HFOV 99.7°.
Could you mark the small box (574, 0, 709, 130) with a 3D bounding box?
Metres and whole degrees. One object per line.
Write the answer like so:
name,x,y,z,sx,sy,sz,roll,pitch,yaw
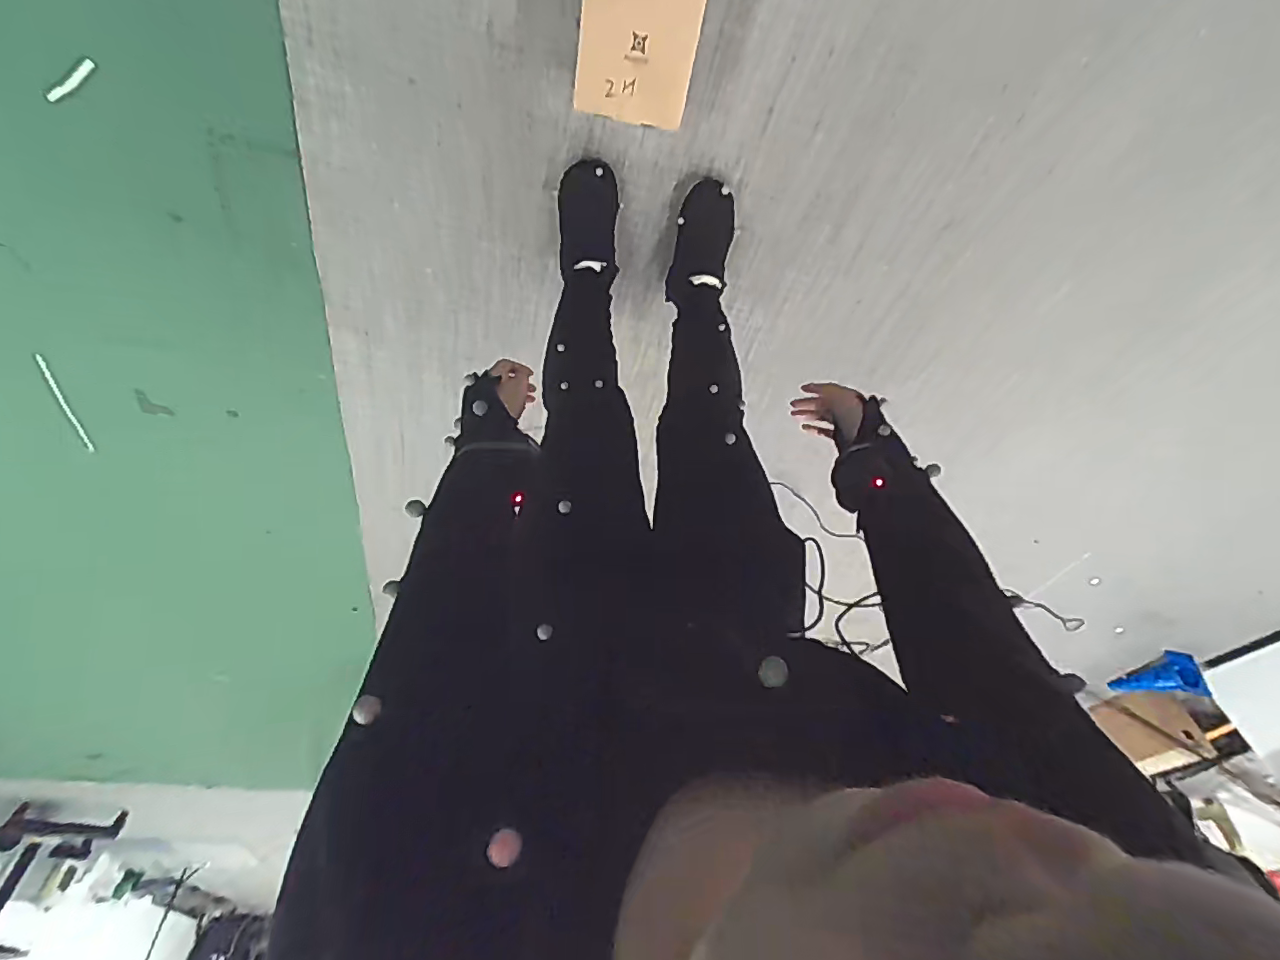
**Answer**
small box,-0.005,-0.658,0.805,0.168,0.176,0.179,7,134,-9
